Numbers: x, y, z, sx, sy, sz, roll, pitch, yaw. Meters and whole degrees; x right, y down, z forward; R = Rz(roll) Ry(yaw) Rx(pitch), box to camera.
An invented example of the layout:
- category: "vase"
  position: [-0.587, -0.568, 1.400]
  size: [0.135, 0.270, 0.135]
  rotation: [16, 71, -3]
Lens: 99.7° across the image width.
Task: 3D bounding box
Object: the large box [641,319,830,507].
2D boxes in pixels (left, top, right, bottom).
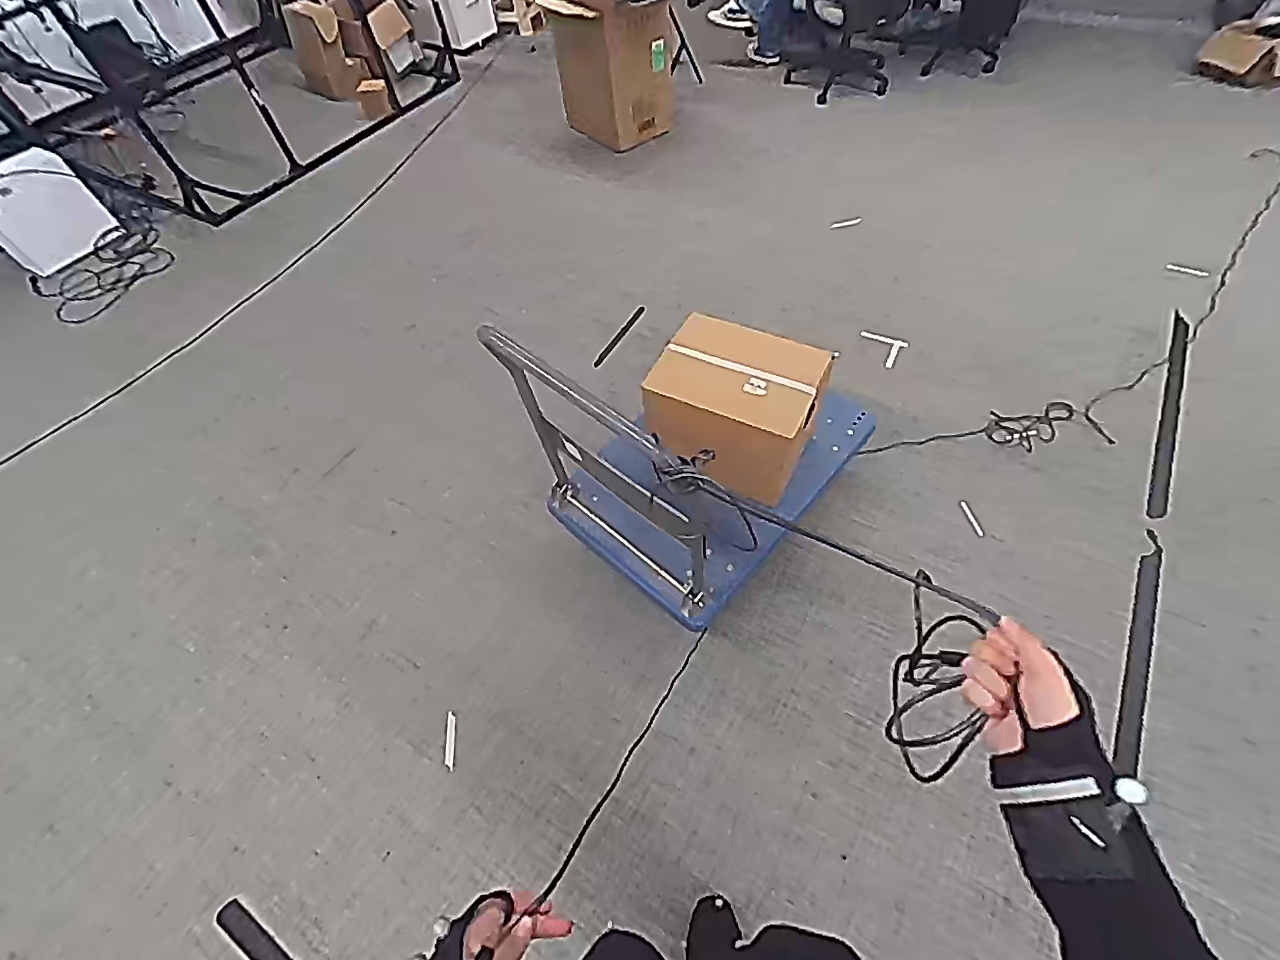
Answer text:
- category: "large box"
  position: [0.251, -0.185, 1.491]
  size: [0.408, 0.320, 0.320]
  rotation: [22, 61, 18]
